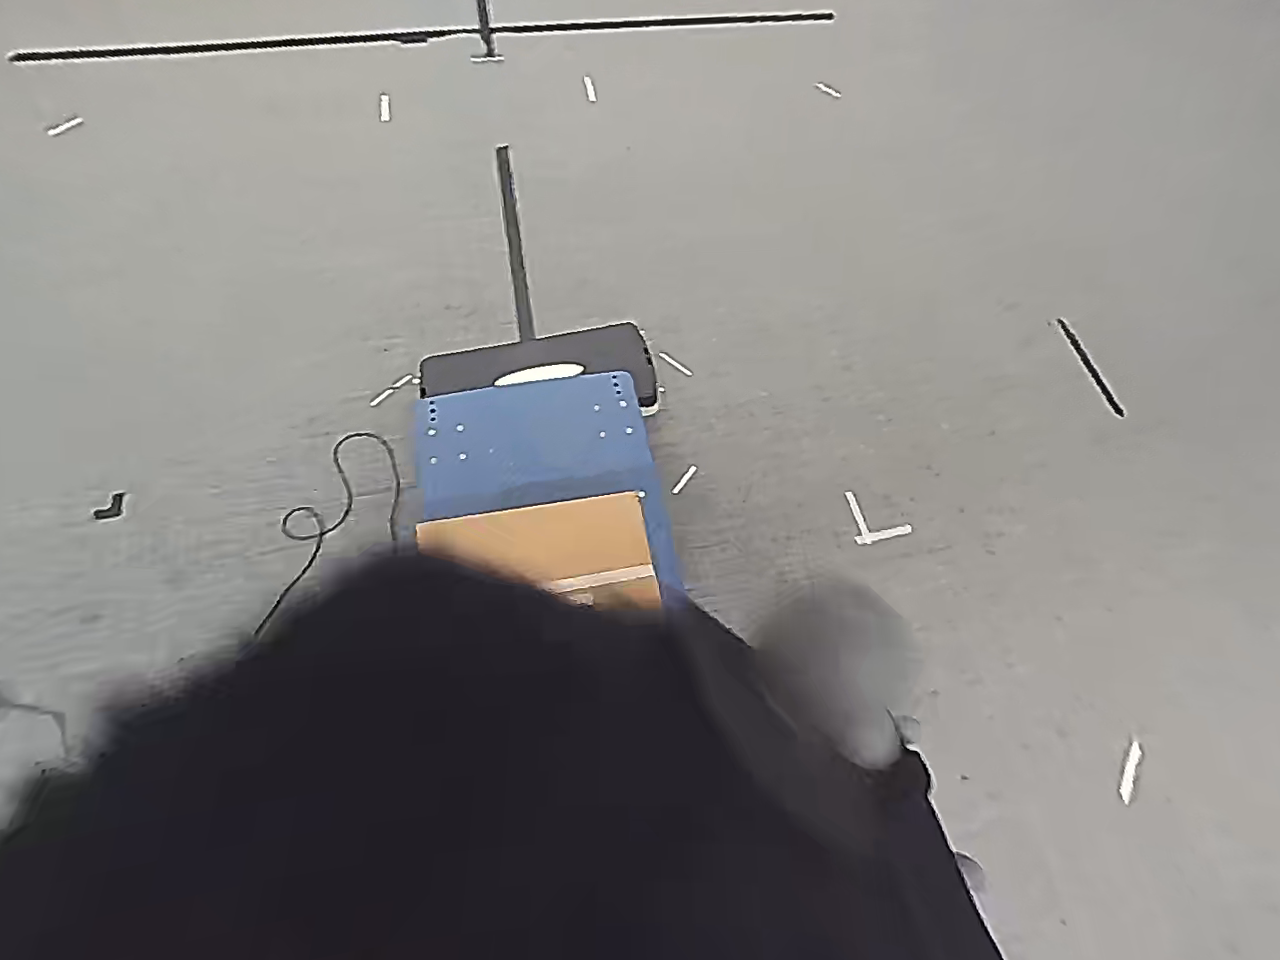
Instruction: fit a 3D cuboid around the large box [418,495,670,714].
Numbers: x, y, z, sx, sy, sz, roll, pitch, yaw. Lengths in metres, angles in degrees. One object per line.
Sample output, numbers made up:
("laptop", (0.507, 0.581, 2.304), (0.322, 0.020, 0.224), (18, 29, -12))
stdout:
("large box", (-0.185, 0.255, 1.064), (0.408, 0.320, 0.320), (-8, 68, -9))
